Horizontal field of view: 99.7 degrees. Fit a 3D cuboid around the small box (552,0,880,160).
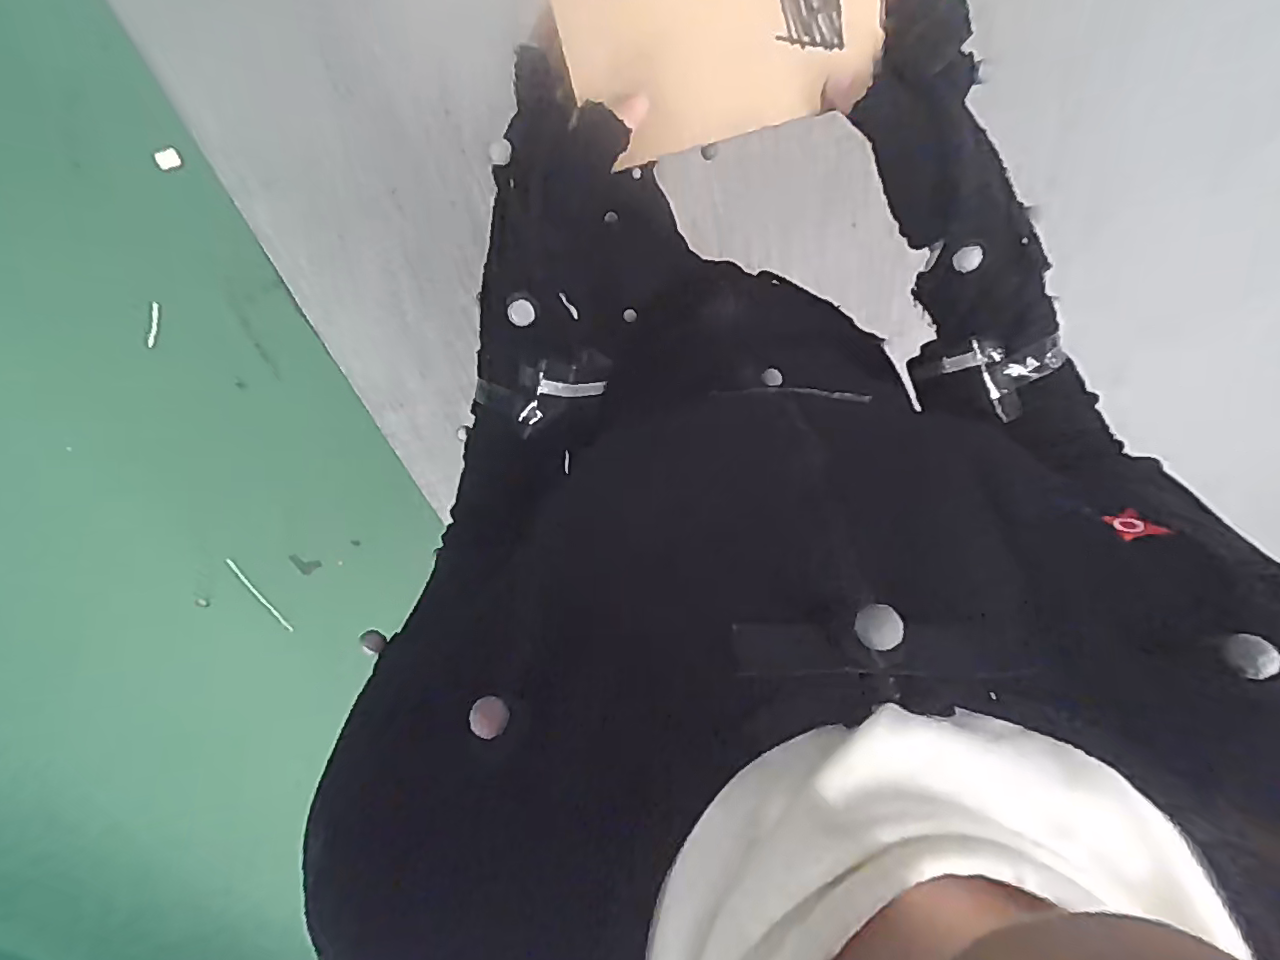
[{"bbox_3d":[0.035,-0.324,0.342,0.179,0.176,0.168,-11,125,8],"label":"small box"}]
